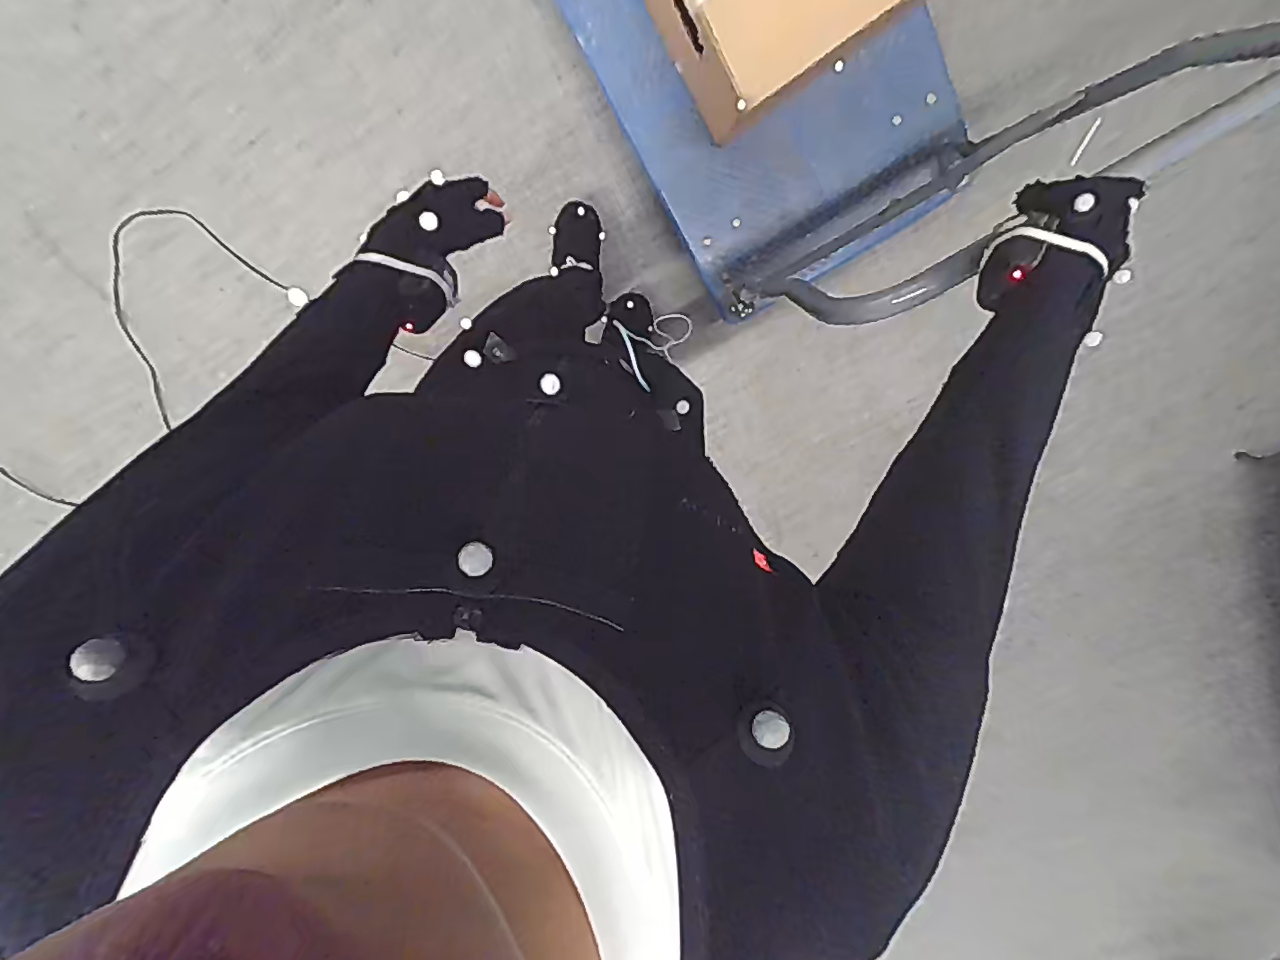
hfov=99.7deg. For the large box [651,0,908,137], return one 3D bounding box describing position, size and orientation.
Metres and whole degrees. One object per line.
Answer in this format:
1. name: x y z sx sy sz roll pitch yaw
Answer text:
1. large box: 0.243 -0.832 0.848 0.408 0.320 0.320 -30 109 13
